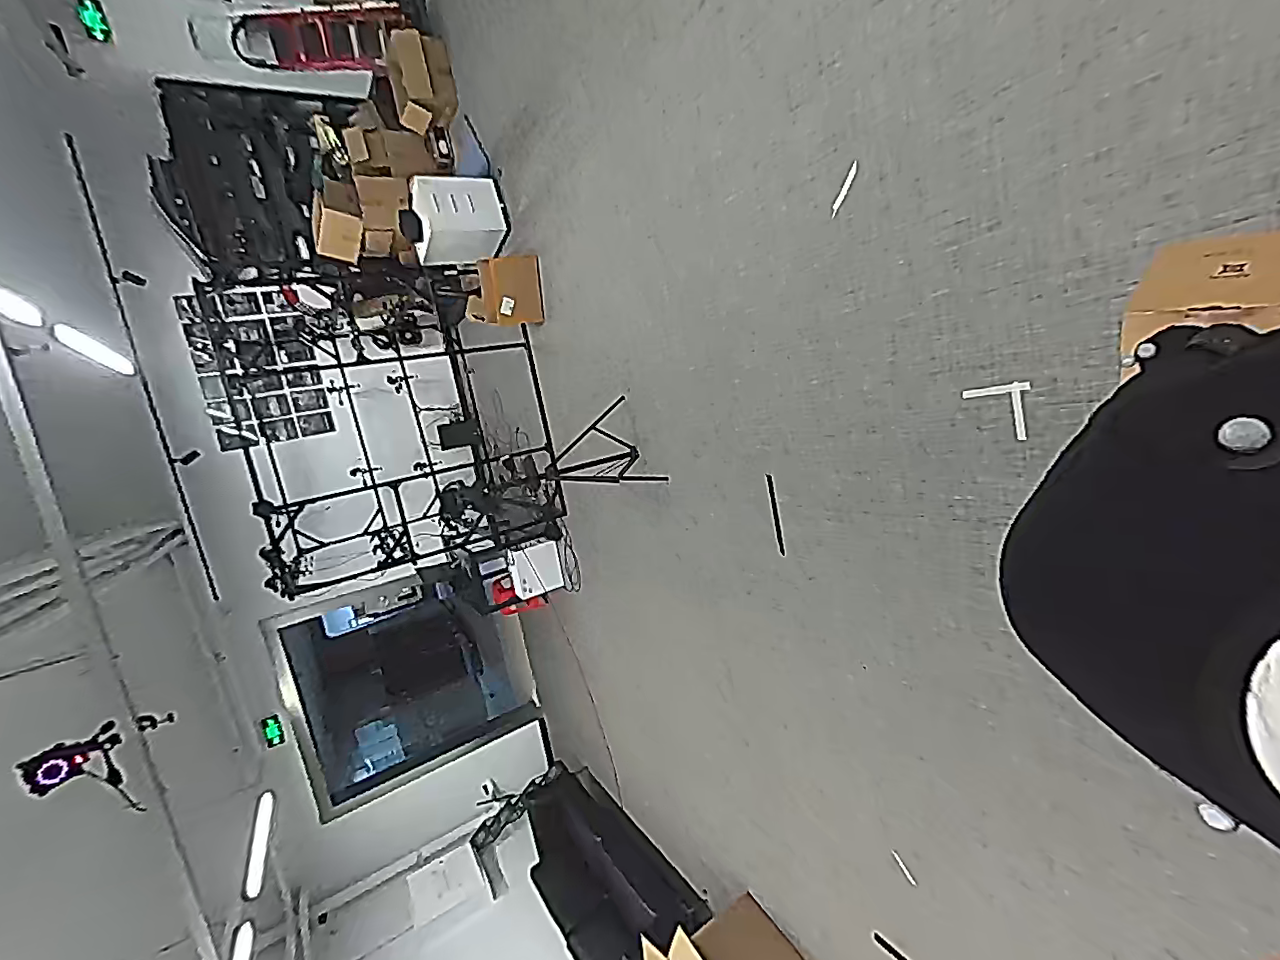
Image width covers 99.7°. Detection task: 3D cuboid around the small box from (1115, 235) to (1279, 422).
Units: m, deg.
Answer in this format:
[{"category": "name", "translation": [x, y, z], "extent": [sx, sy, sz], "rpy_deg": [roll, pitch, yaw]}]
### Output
[{"category": "small box", "translation": [0.752, -0.193, 0.702], "extent": [0.168, 0.179, 0.176], "rpy_deg": [17, 144, 50]}]
